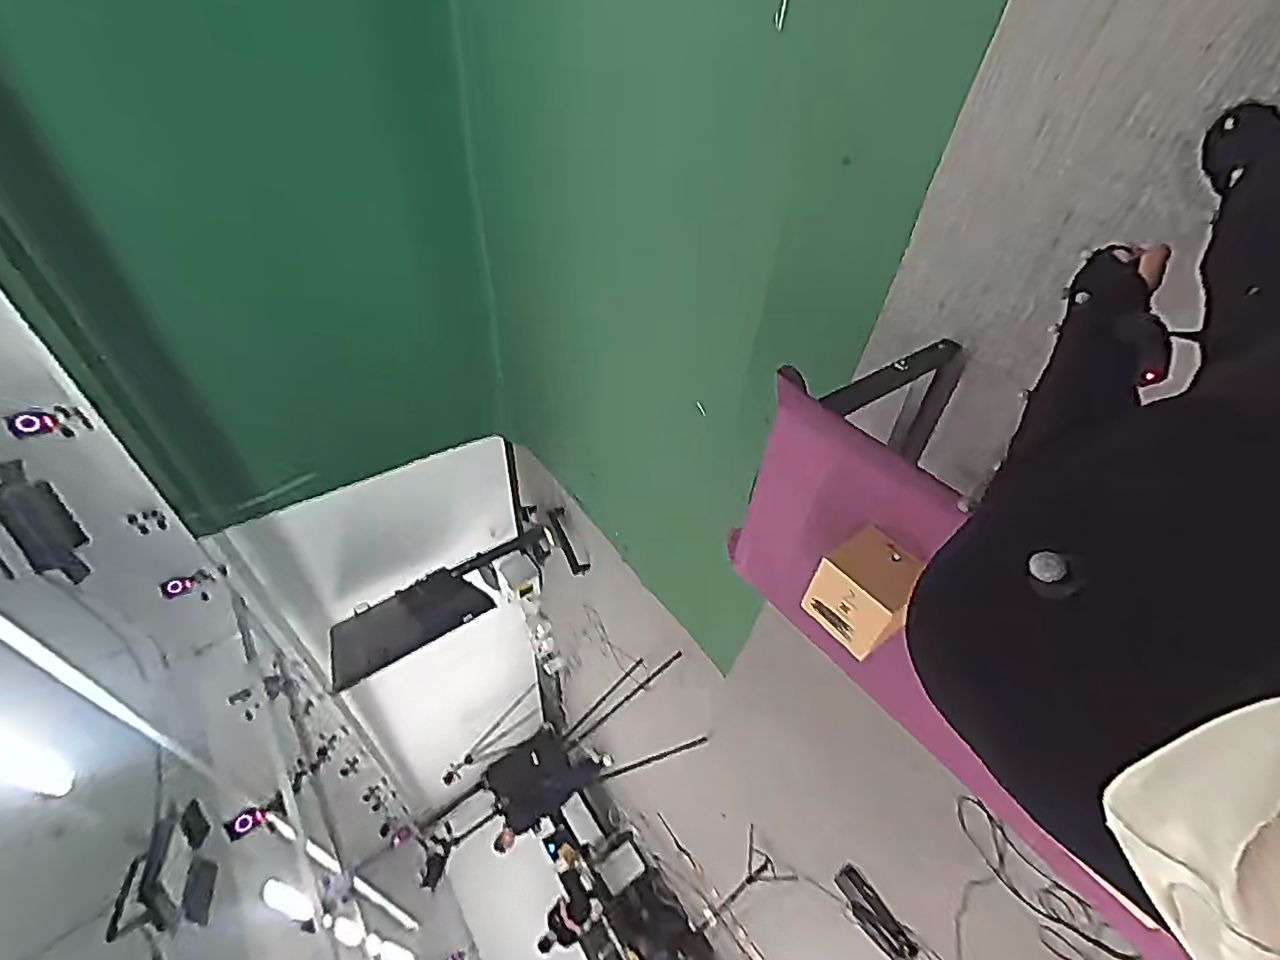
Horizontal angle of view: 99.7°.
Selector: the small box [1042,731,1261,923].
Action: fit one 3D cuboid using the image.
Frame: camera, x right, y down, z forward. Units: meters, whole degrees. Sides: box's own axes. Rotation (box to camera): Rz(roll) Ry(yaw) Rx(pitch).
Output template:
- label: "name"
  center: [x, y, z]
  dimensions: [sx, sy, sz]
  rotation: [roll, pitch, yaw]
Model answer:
- label: "small box"
  center: [0.794, 0.536, 0.846]
  dimensions: [0.168, 0.176, 0.179]
  rotation: [44, 145, 35]
